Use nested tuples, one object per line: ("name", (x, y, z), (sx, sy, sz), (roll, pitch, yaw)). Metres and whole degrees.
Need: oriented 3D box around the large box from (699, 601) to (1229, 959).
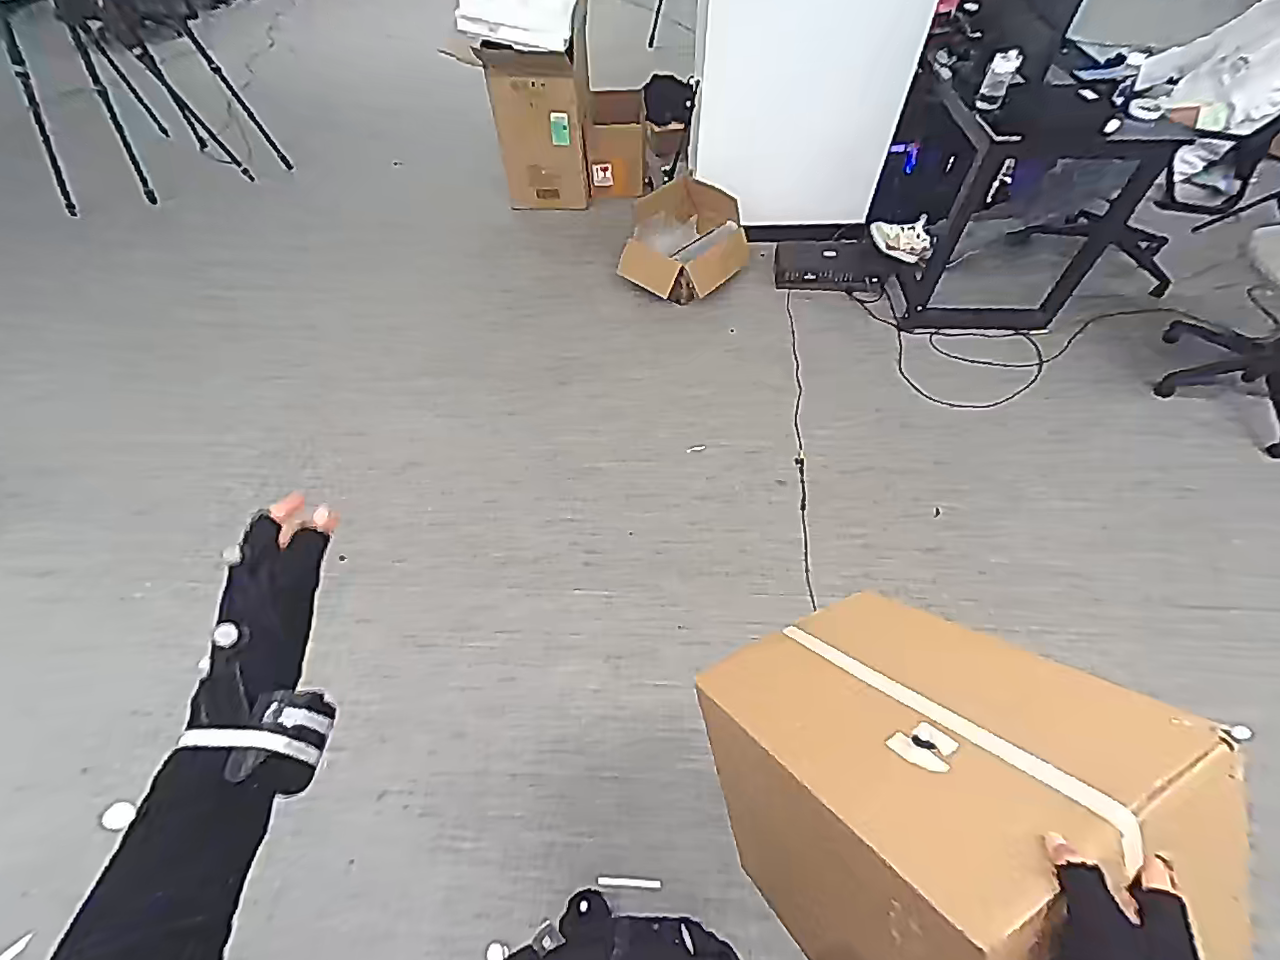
("large box", (0.319, 0.386, 0.617), (0.320, 0.320, 0.408), (-18, 12, -19))
